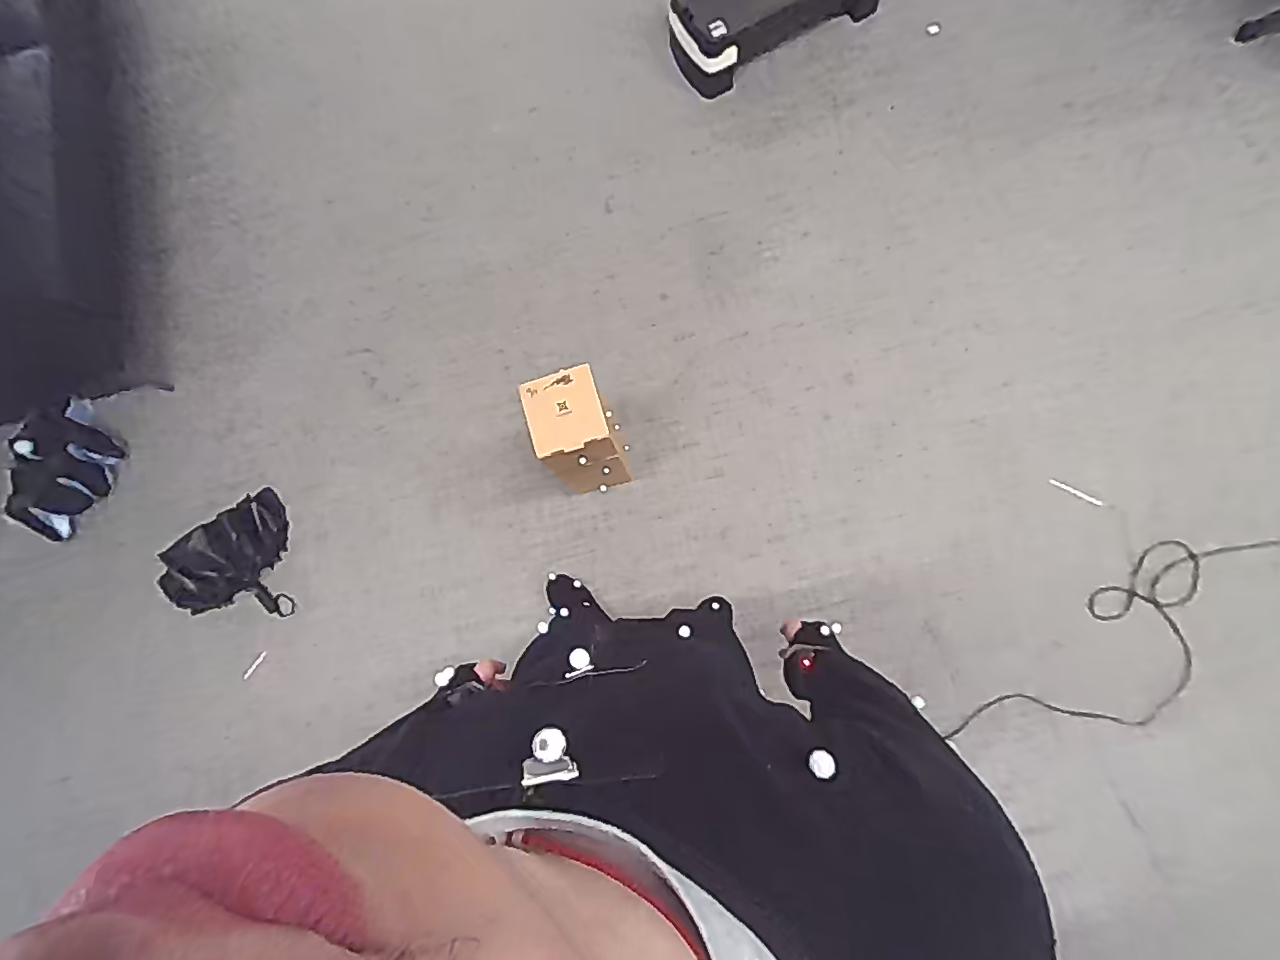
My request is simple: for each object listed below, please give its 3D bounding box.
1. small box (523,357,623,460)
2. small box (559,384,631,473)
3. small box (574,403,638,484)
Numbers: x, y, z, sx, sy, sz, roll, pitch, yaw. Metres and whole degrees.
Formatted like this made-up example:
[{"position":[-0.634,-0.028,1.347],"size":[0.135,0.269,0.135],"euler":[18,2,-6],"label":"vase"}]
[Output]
[{"position":[-0.145,-0.153,1.237],"size":[0.168,0.176,0.179],"euler":[-18,80,3],"label":"small box"},{"position":[-0.128,-0.126,1.397],"size":[0.168,0.176,0.179],"euler":[-16,78,3],"label":"small box"},{"position":[-0.109,-0.099,1.555],"size":[0.168,0.176,0.179],"euler":[-15,79,5],"label":"small box"}]
